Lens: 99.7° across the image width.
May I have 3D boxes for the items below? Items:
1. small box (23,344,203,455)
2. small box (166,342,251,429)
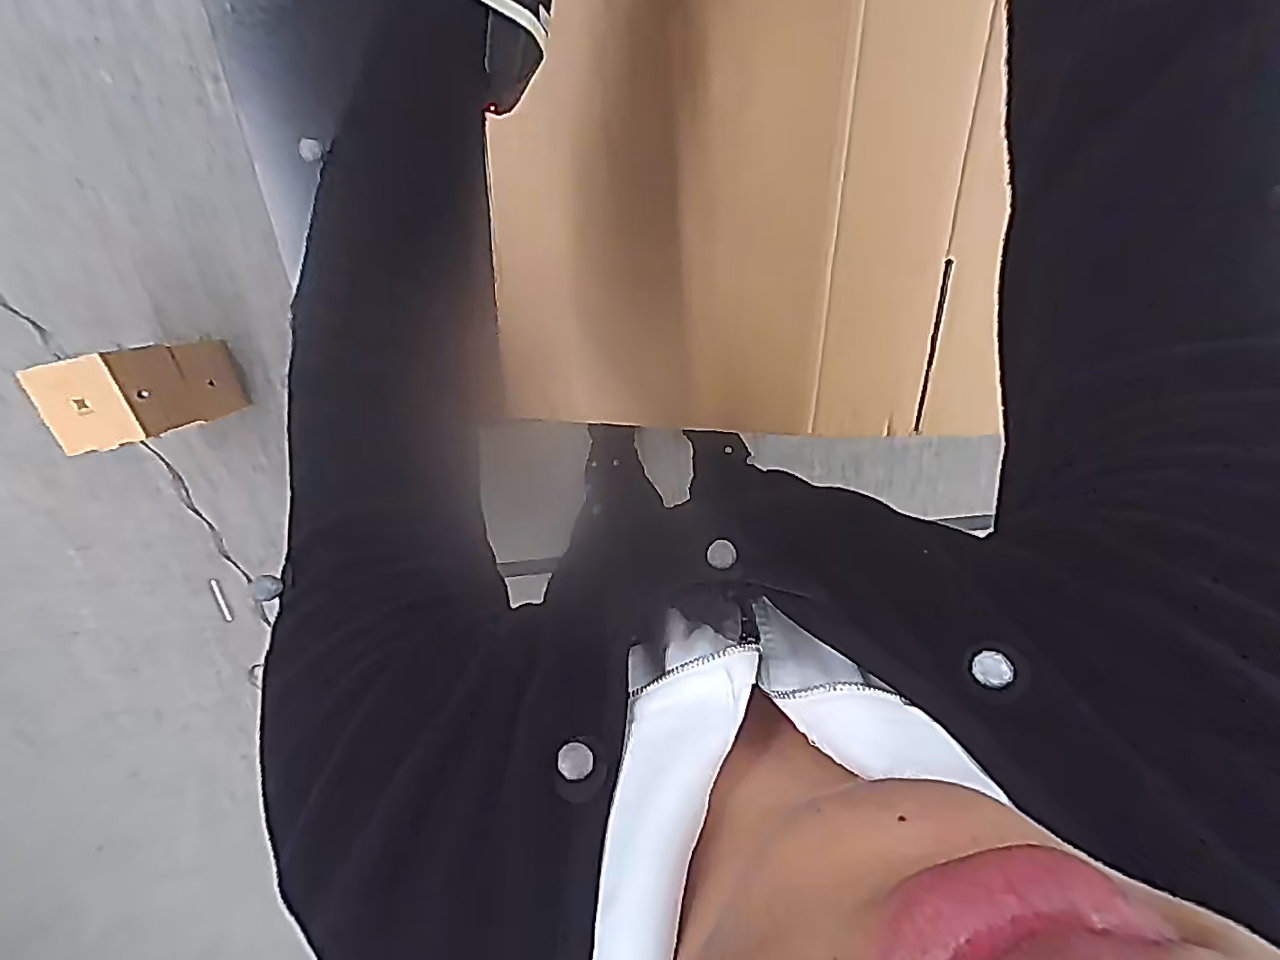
[{"bbox_3d":[-1.067,-0.171,1.117,0.168,0.176,0.179,-13,109,1],"label":"small box"},{"bbox_3d":[-1.072,-0.222,1.271,0.168,0.176,0.179,-10,111,1],"label":"small box"}]
